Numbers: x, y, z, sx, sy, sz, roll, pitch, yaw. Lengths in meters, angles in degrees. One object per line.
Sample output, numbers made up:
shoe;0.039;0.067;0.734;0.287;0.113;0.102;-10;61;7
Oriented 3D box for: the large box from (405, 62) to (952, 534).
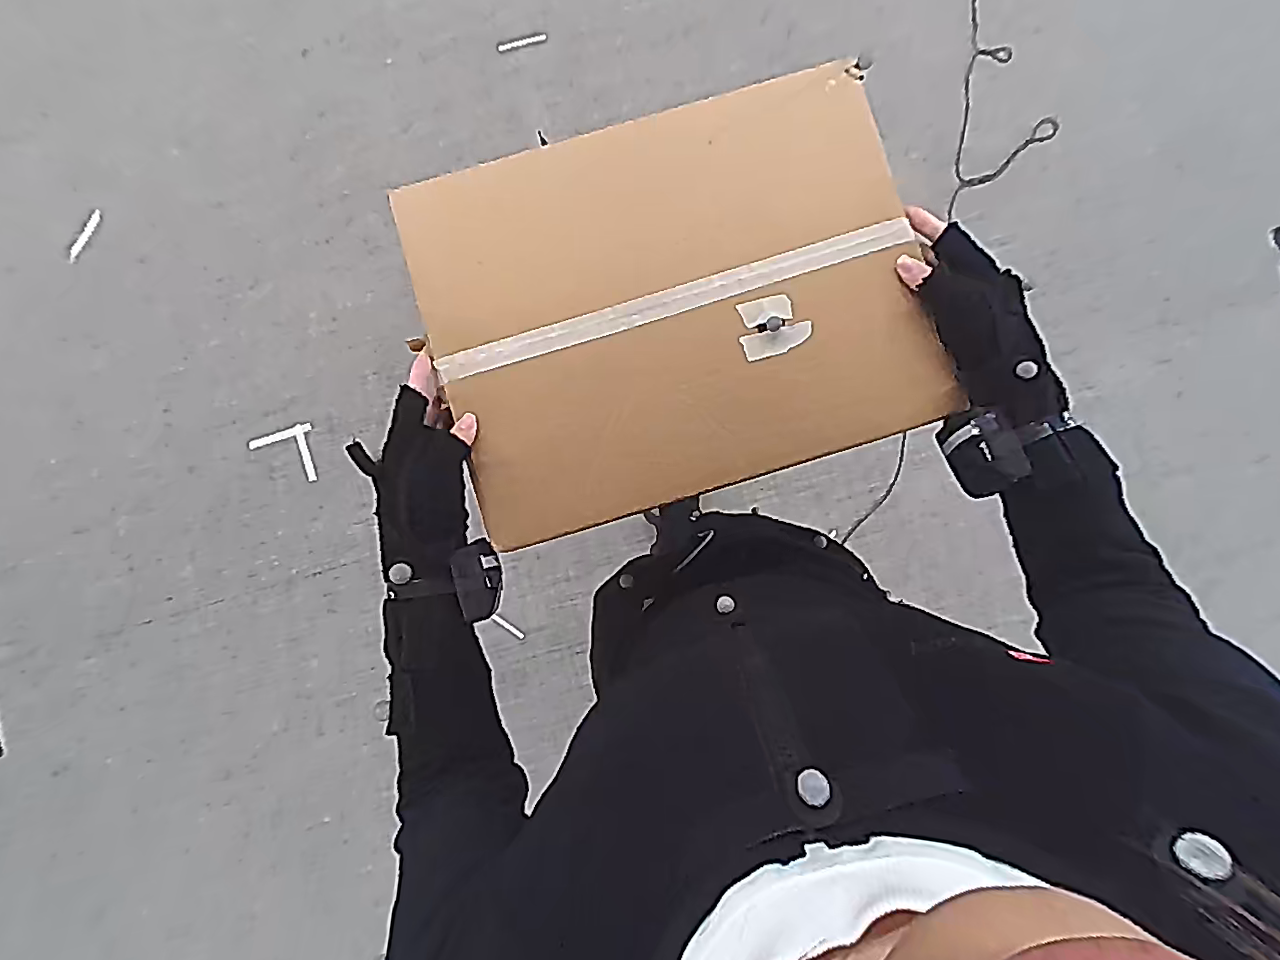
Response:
large box;0.028;-0.151;0.605;0.408;0.320;0.320;-17;89;-2
